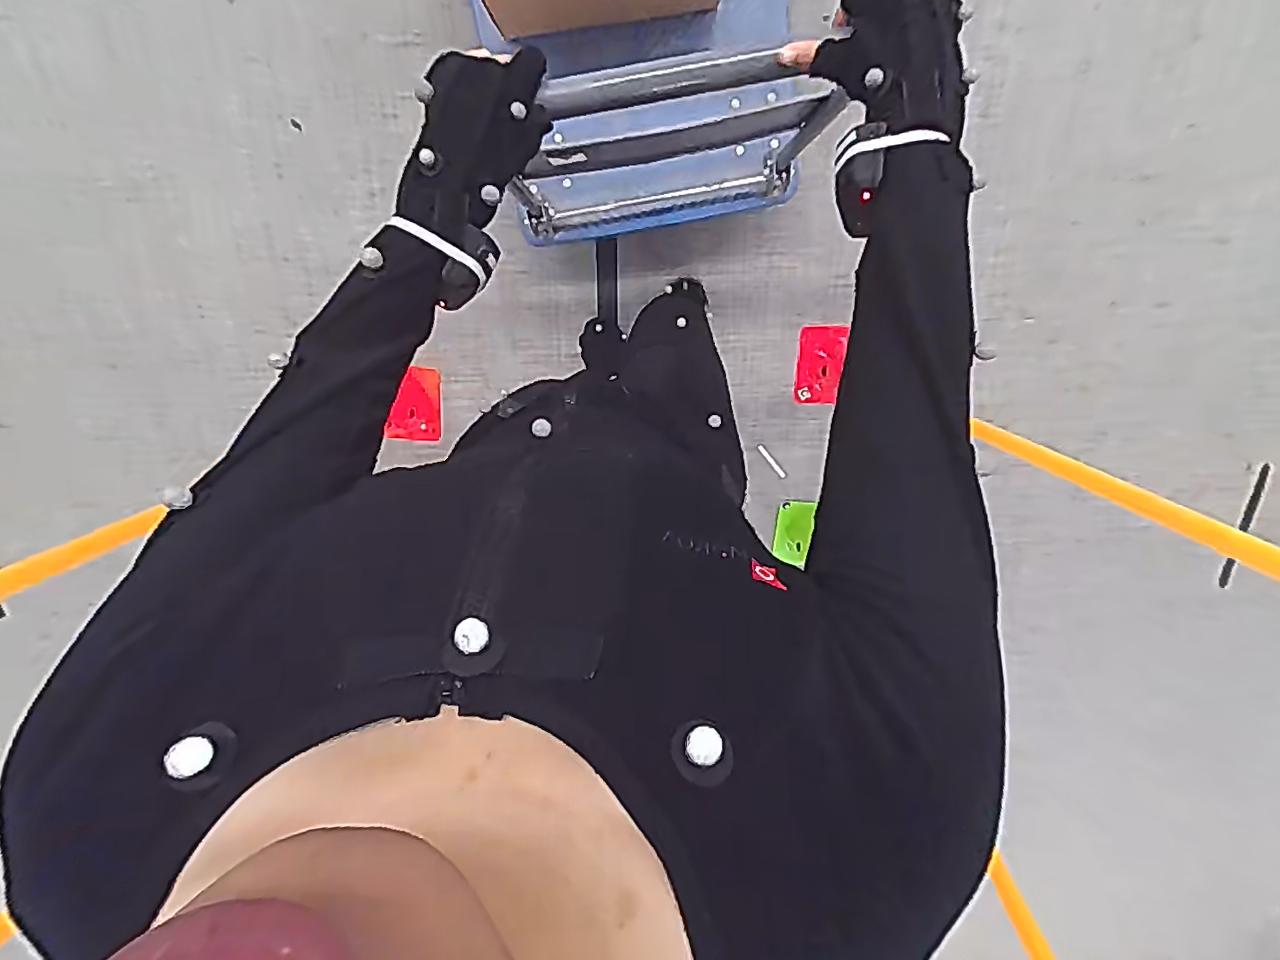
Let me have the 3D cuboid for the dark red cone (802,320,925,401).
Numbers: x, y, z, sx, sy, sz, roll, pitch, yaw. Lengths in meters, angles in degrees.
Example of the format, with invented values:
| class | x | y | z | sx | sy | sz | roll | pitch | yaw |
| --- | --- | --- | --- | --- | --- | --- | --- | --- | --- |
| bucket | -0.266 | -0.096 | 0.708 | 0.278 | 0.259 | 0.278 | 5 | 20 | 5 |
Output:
| class | x | y | z | sx | sy | sz | roll | pitch | yaw |
| --- | --- | --- | --- | --- | --- | --- | --- | --- | --- |
| dark red cone | 0.516 | -0.243 | 1.210 | 0.201 | 0.394 | 0.202 | -1 | 111 | -2 |

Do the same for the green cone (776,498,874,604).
| class | x | y | z | sx | sy | sz | roll | pitch | yaw |
| --- | --- | --- | --- | --- | --- | --- | --- | --- | --- |
| green cone | 0.502 | 0.207 | 1.394 | 0.202 | 0.368 | 0.200 | 2 | 110 | -2 |

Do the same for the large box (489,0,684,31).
| class | x | y | z | sx | sy | sz | roll | pitch | yaw |
| --- | --- | --- | --- | --- | --- | --- | --- | --- | --- |
| large box | -0.074 | -0.949 | 0.814 | 0.408 | 0.320 | 0.320 | -7 | 111 | 3 |

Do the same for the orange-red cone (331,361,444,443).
| class | x | y | z | sx | sy | sz | roll | pitch | yaw |
| --- | --- | --- | --- | --- | --- | --- | --- | --- | --- |
| orange-red cone | -0.613 | -0.152 | 1.261 | 0.198 | 0.360 | 0.199 | 6 | 109 | -3 |
